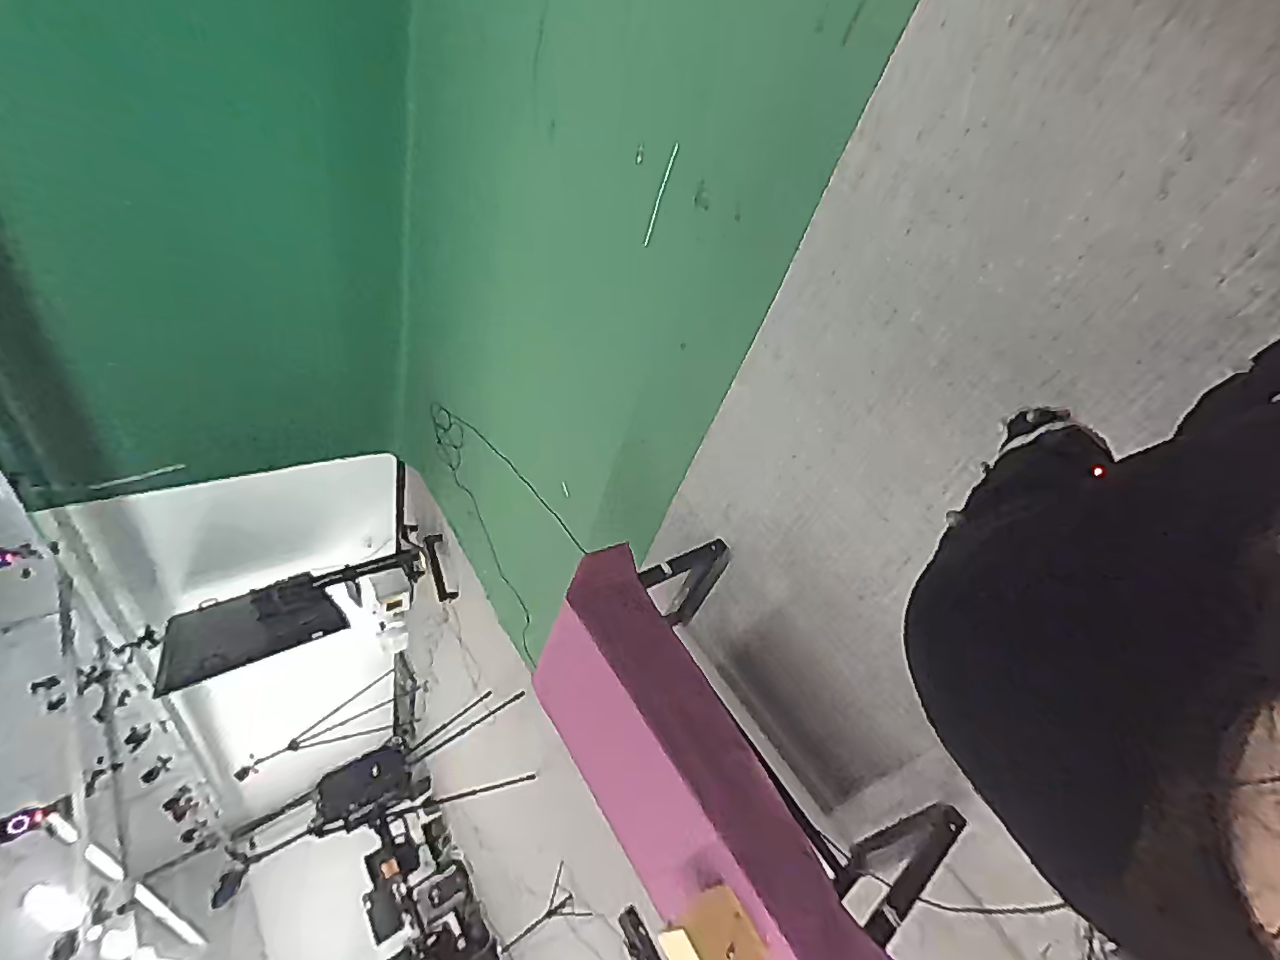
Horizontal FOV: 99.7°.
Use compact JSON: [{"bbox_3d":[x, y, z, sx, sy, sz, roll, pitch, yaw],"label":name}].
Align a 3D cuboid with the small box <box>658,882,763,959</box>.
[{"bbox_3d":[0.179,1.144,1.346,0.168,0.176,0.179,53,139,26],"label":"small box"}]
